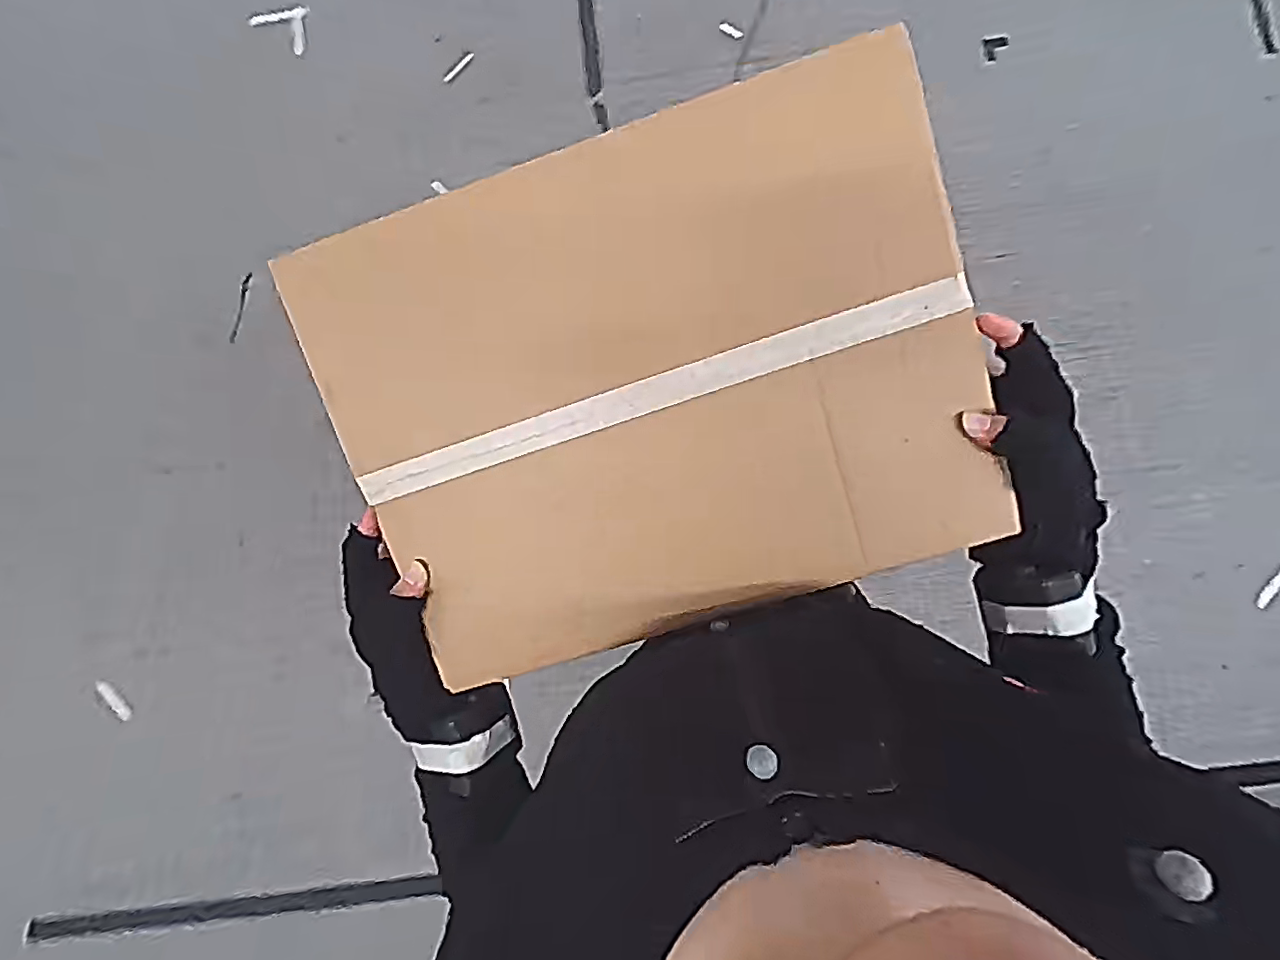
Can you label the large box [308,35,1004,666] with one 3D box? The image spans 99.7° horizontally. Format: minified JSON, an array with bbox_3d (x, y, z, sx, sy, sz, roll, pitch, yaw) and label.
[{"bbox_3d":[0.017,-0.085,0.503,0.408,0.320,0.320,-16,99,5],"label":"large box"}]
